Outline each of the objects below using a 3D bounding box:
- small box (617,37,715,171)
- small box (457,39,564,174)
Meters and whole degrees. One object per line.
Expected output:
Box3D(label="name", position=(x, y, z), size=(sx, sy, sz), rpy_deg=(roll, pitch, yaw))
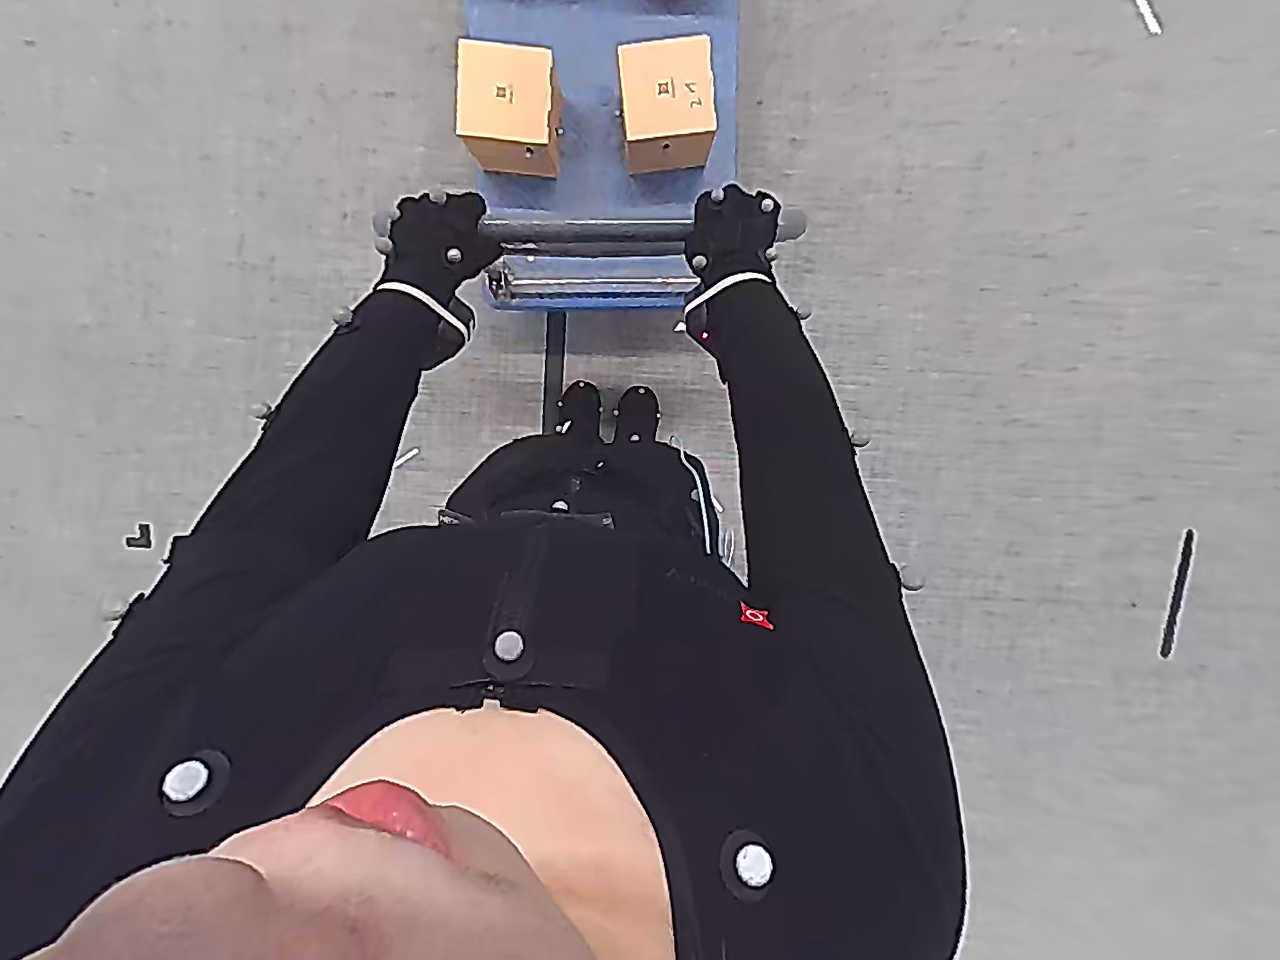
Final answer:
Box3D(label="small box", position=(0.051, -0.750, 1.098), size=(0.179, 0.176, 0.168), rpy_deg=(-6, 100, 0))
Box3D(label="small box", position=(-0.256, -0.743, 1.095), size=(0.179, 0.176, 0.168), rpy_deg=(5, 100, -3))
